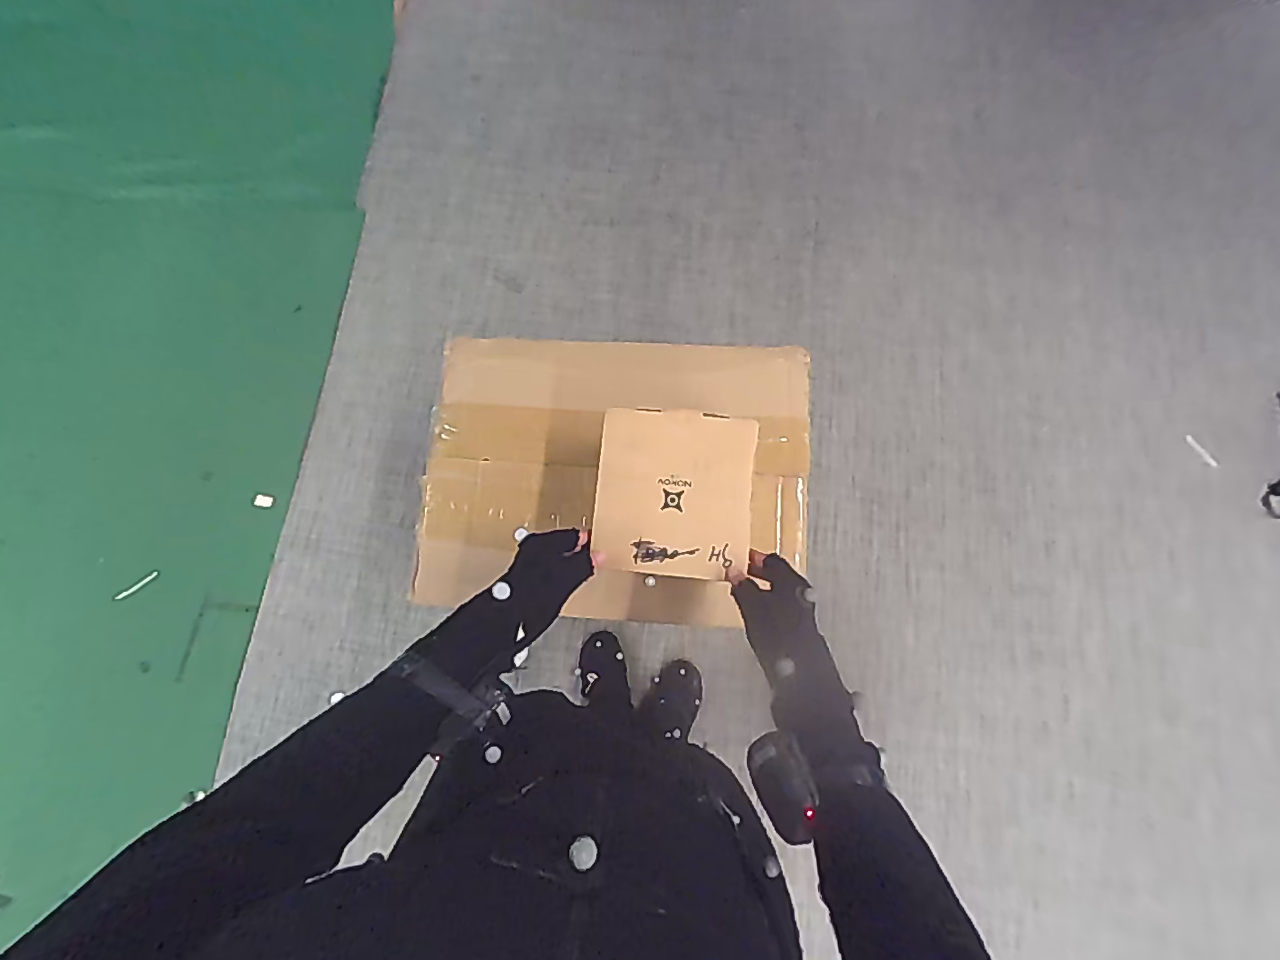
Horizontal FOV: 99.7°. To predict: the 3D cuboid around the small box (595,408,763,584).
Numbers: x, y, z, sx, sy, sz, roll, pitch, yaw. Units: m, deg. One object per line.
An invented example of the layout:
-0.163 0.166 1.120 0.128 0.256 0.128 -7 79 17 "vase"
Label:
0.045 0.026 0.653 0.168 0.176 0.179 6 82 4 "small box"
